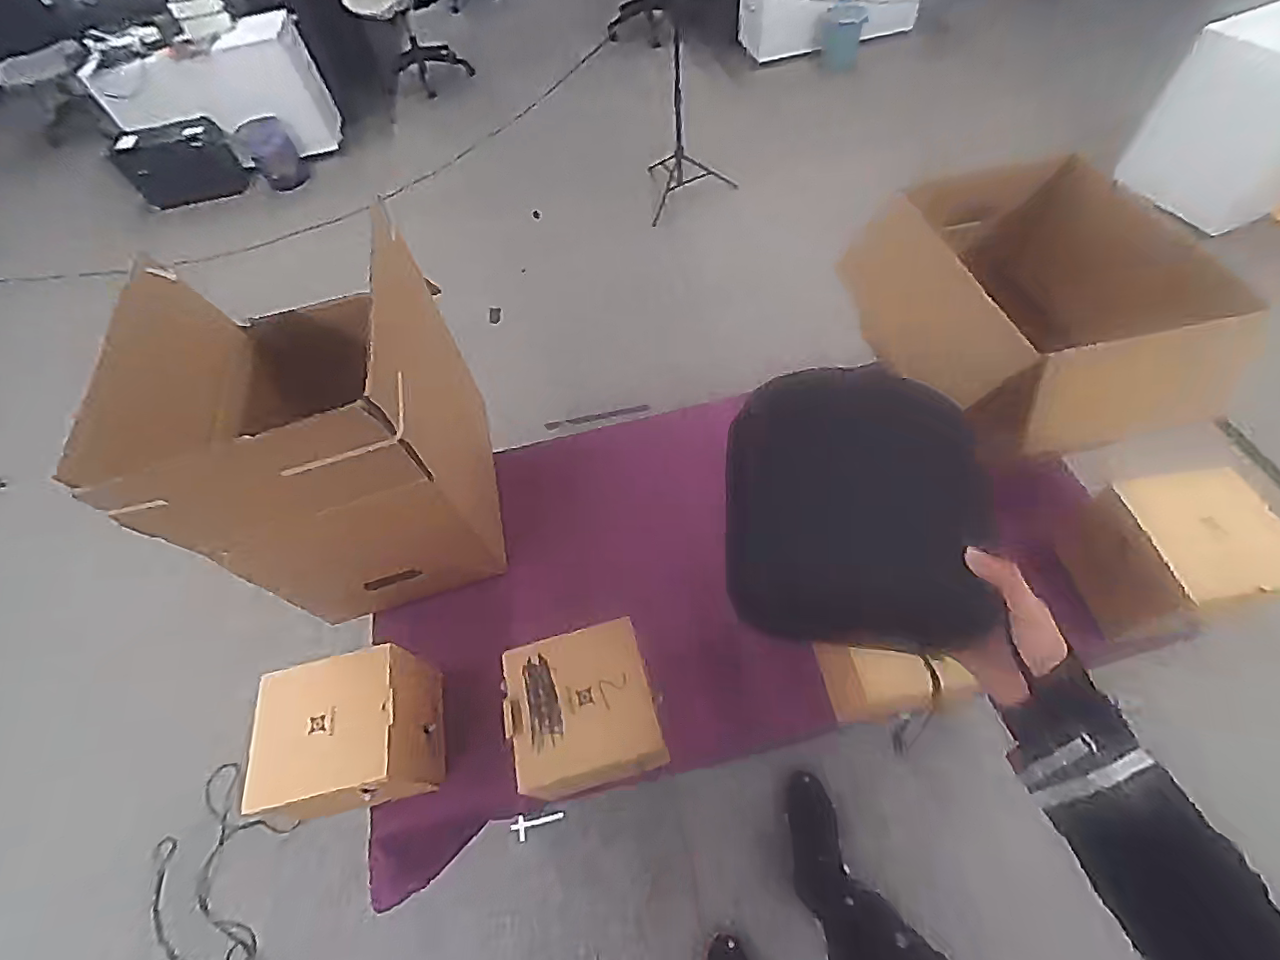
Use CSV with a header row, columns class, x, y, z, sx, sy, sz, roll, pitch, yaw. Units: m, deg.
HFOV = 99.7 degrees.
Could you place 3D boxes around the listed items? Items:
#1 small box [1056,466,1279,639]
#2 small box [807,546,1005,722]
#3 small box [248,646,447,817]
class,x,y,z,sx,sy,sz,roll,pitch,yaw
small box,0.742,0.106,0.758,0.168,0.176,0.179,-9,57,2
small box,0.341,0.215,0.740,0.168,0.176,0.179,-11,58,1
small box,-0.383,0.350,0.742,0.179,0.176,0.168,-14,57,-3
